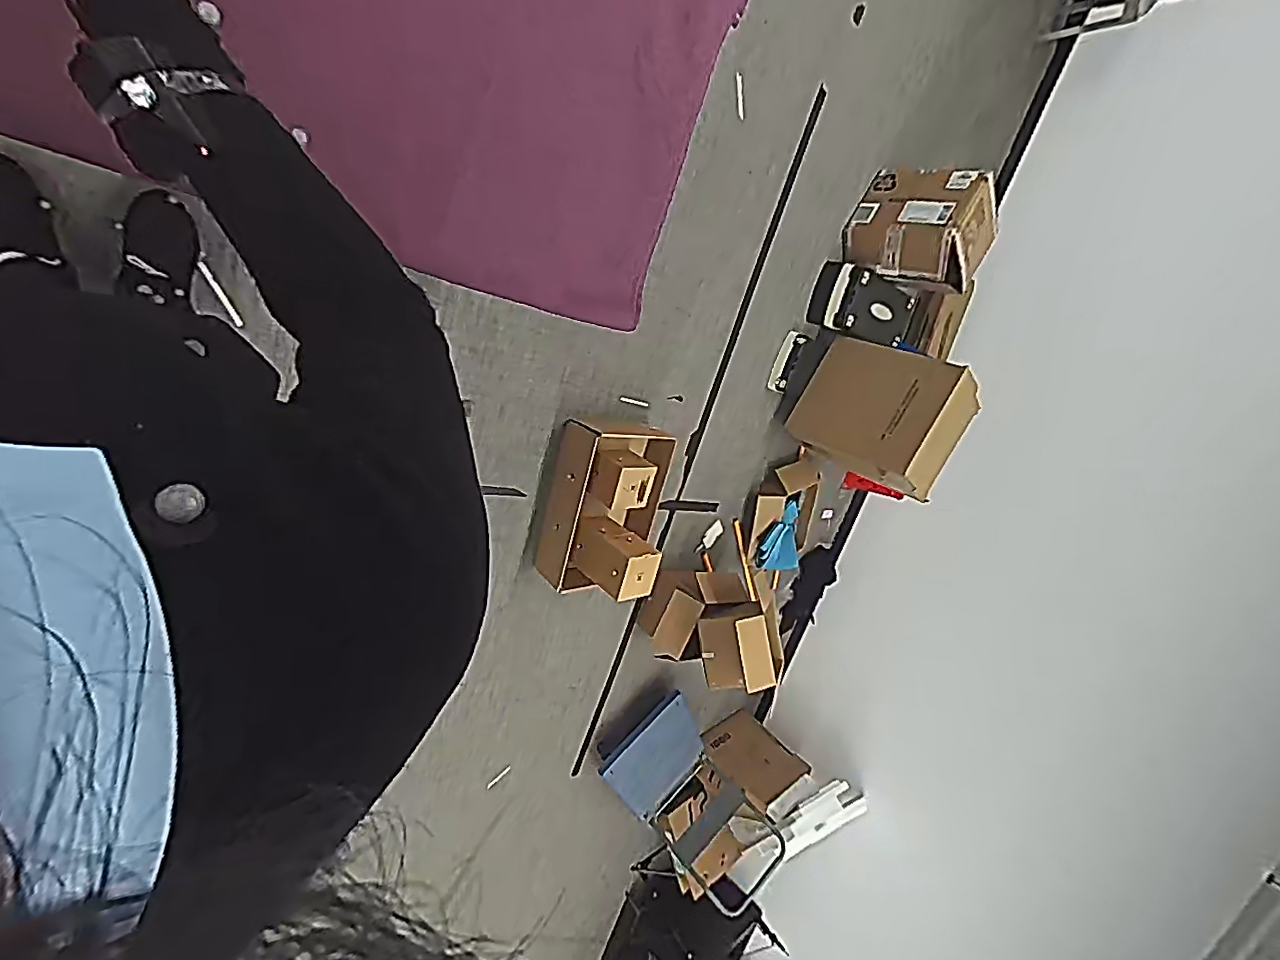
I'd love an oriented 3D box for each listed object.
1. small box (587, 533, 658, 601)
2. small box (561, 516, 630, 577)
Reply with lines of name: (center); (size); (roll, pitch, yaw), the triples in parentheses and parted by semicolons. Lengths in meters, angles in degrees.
small box: (-0.068, 0.308, 1.949); (0.168, 0.176, 0.179); (0, 112, -45)
small box: (-0.174, 0.248, 2.057); (0.179, 0.176, 0.168); (0, 113, -46)
